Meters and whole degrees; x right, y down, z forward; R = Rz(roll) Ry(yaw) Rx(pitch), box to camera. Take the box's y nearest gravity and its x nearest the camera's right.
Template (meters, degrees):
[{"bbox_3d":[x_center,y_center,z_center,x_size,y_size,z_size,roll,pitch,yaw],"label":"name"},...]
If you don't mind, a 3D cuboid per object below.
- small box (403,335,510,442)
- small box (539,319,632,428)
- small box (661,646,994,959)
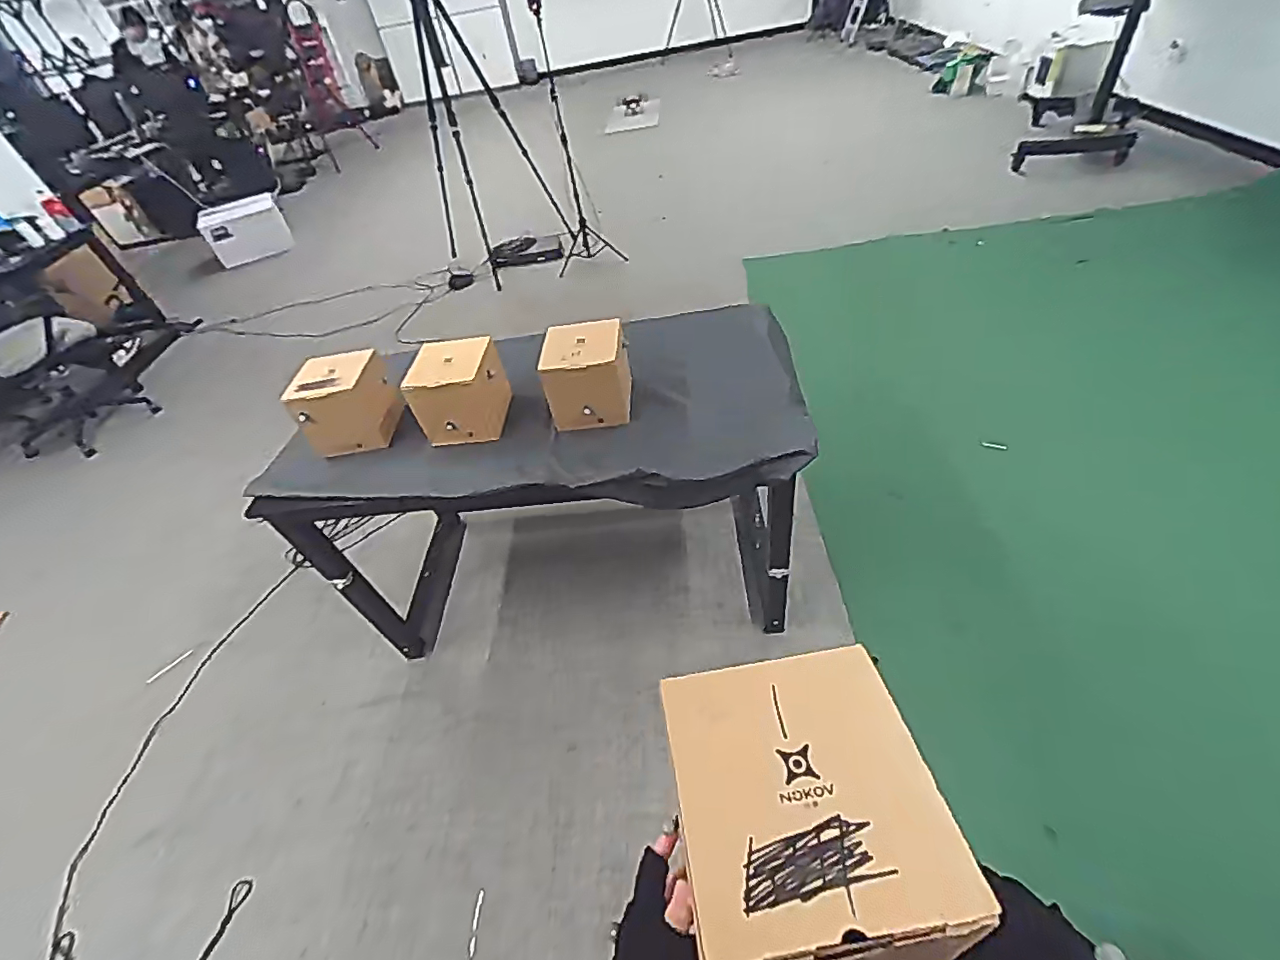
[{"bbox_3d":[-0.408,-0.208,1.241,0.168,0.176,0.179,-4,46,6],"label":"small box"},{"bbox_3d":[-0.113,-0.237,1.210,0.168,0.176,0.179,-5,46,7],"label":"small box"},{"bbox_3d":[0.114,0.258,0.408,0.168,0.176,0.179,-9,40,-2],"label":"small box"}]
